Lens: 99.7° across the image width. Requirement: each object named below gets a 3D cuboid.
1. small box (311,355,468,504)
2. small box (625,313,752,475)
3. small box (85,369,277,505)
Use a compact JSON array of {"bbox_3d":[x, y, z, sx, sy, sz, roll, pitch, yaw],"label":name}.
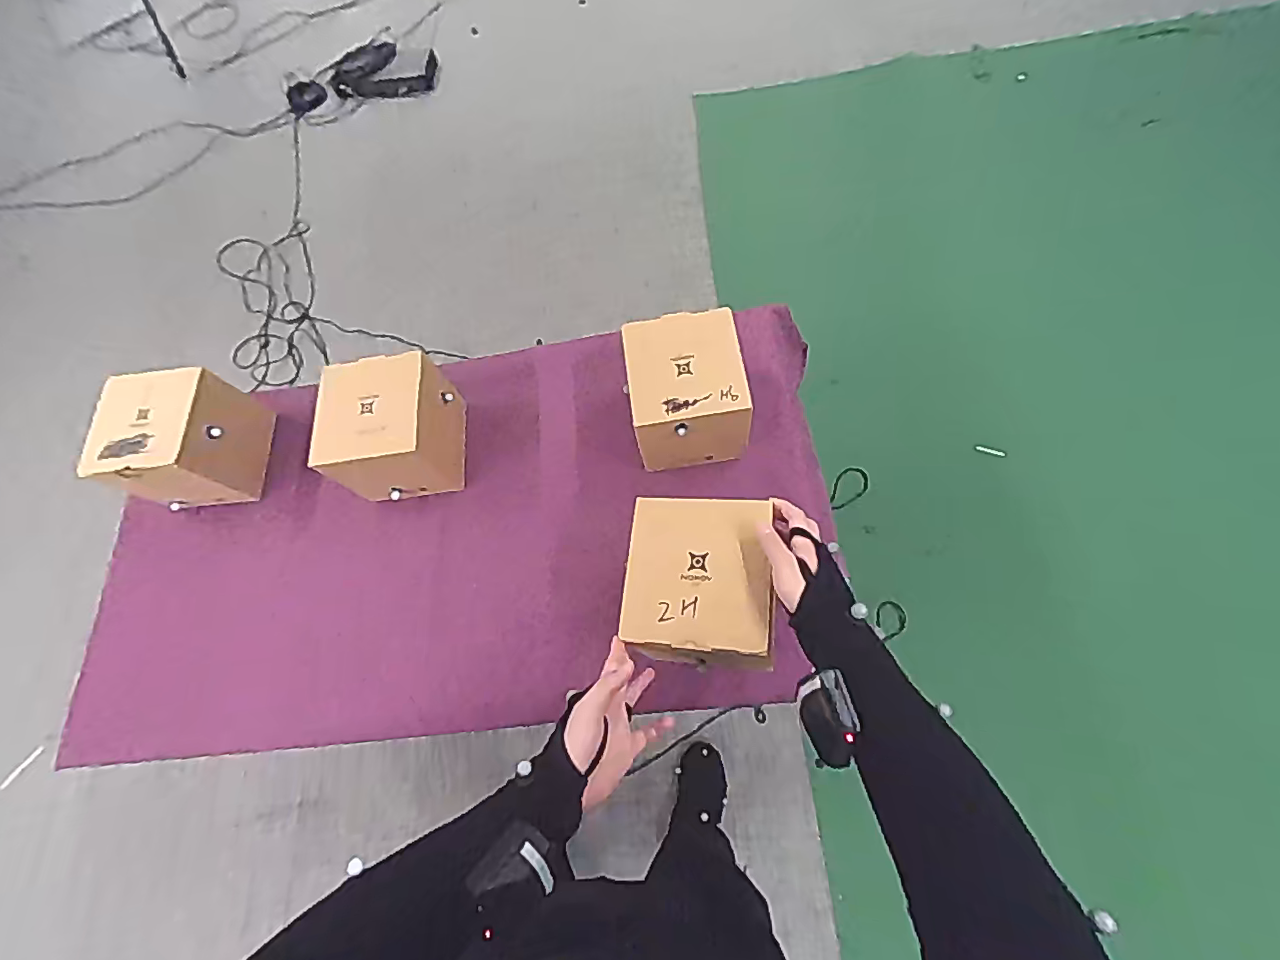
[{"bbox_3d":[-0.394,-0.076,0.884,0.168,0.176,0.179,-7,68,5],"label":"small box"},{"bbox_3d":[0.074,-0.127,0.844,0.168,0.176,0.179,-9,67,5],"label":"small box"},{"bbox_3d":[-0.760,-0.063,0.919,0.168,0.176,0.179,-5,68,4],"label":"small box"}]
